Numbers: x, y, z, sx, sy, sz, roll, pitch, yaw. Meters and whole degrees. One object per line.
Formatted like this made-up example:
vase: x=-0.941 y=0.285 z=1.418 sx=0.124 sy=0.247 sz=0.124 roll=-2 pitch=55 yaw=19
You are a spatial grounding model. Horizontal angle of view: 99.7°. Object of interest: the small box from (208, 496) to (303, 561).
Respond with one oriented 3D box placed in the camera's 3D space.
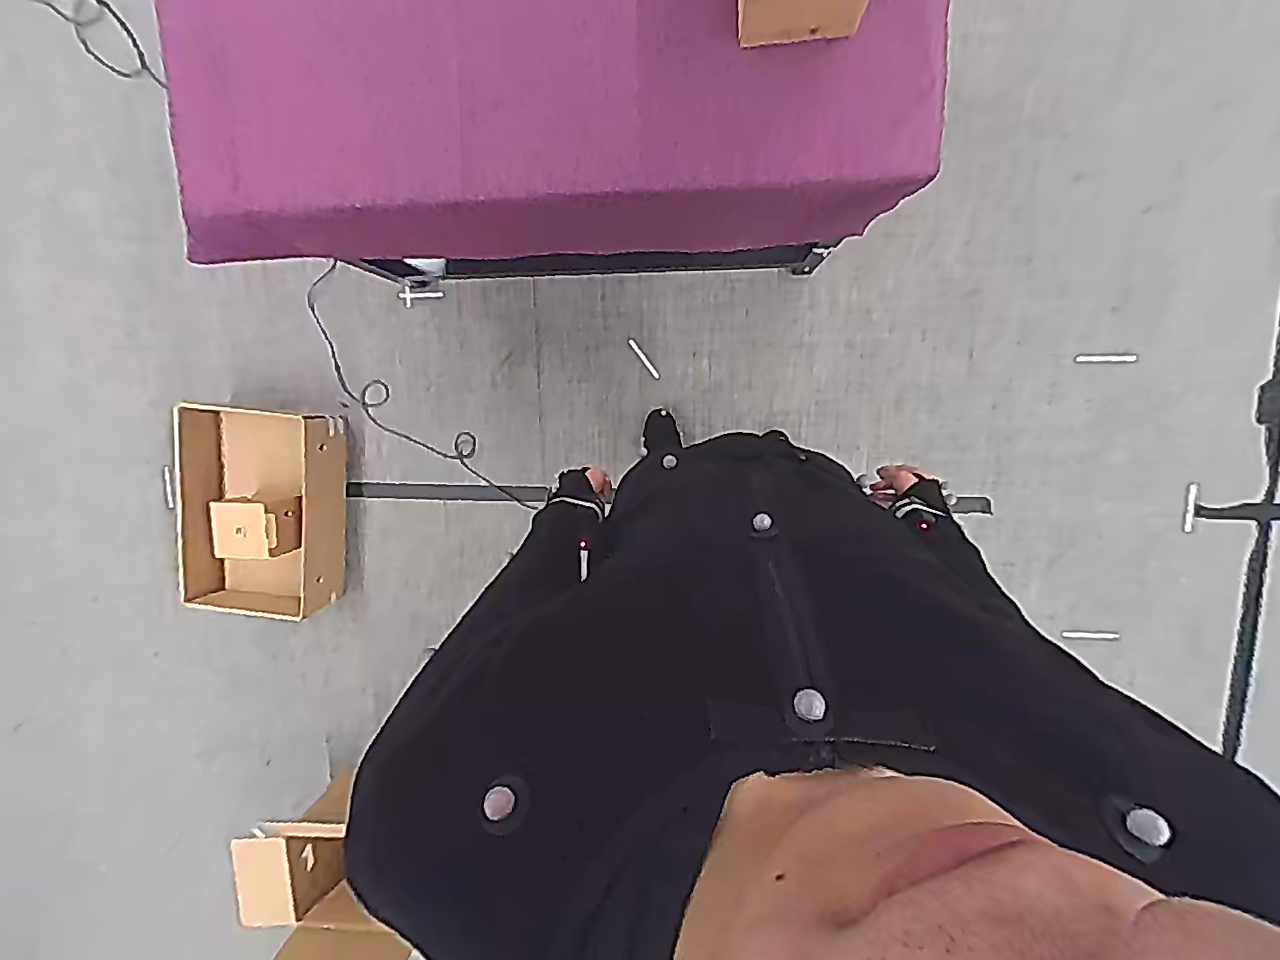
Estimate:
small box: x=-1.146 y=0.142 z=1.630 sx=0.179 sy=0.176 sz=0.168 roll=1 pitch=97 yaw=5
